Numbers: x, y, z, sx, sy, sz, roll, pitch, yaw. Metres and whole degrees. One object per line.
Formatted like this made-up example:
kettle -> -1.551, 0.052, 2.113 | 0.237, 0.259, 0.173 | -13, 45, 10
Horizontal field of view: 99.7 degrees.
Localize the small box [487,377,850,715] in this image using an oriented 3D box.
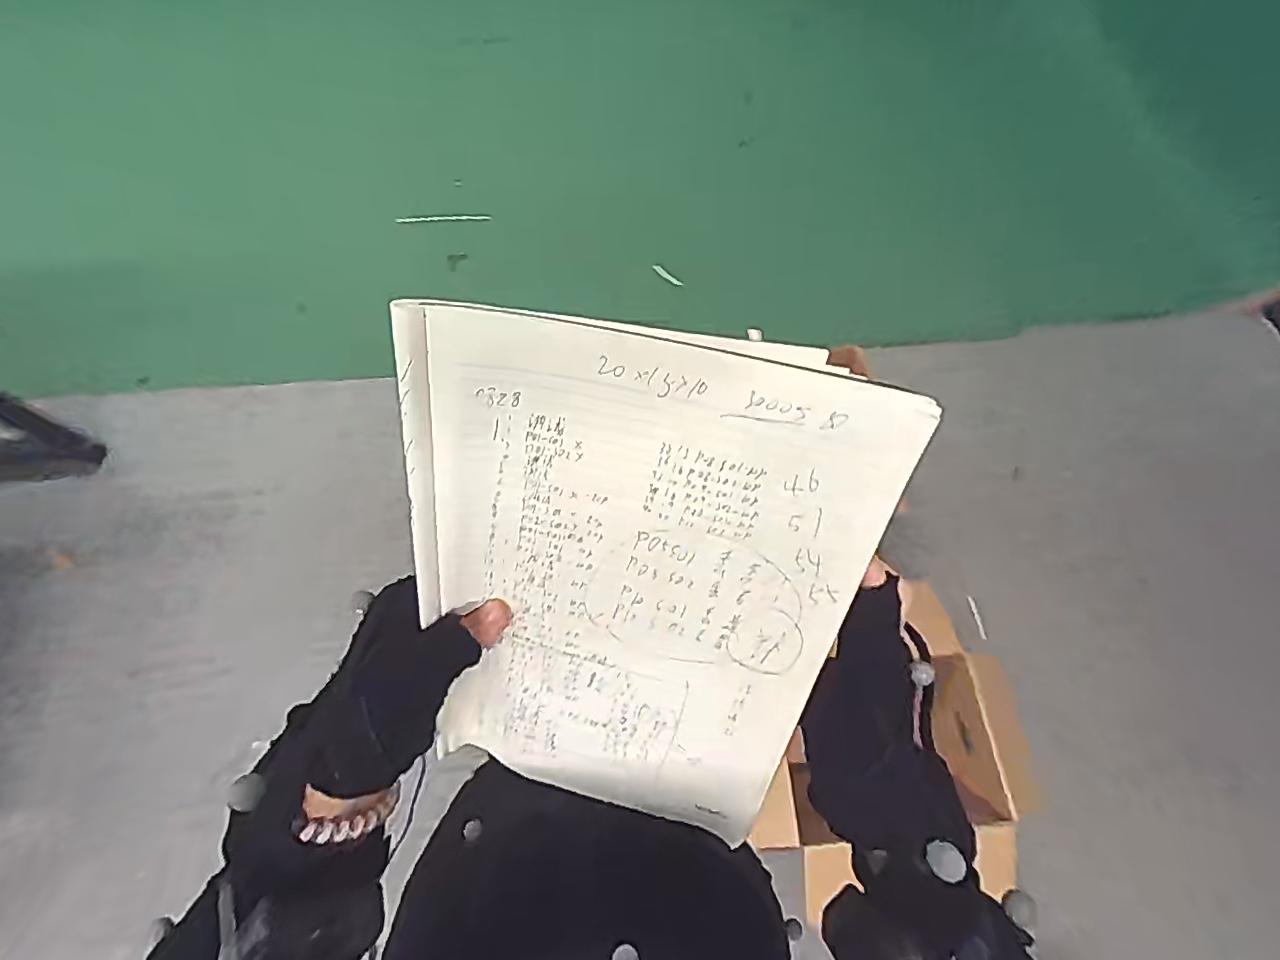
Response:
small box -> 0.019, 0.025, 0.355 | 0.179, 0.176, 0.168 | 0, 107, 5
